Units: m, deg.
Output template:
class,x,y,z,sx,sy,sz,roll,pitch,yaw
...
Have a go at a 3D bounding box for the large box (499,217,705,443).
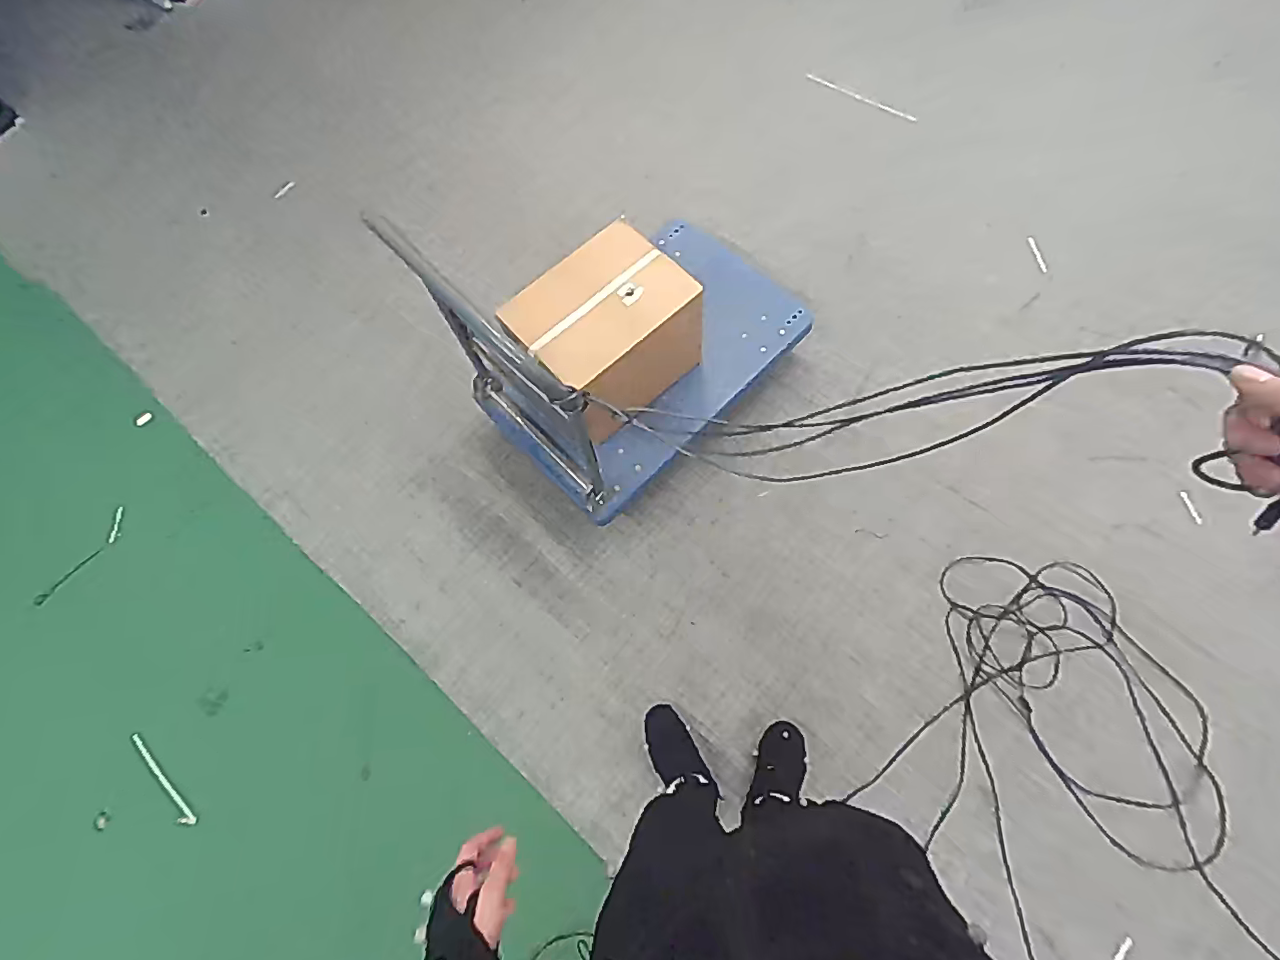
class,x,y,z,sx,sy,sz,roll,pitch,yaw
large box,-0.080,-0.374,1.405,0.408,0.320,0.320,-41,73,-10
